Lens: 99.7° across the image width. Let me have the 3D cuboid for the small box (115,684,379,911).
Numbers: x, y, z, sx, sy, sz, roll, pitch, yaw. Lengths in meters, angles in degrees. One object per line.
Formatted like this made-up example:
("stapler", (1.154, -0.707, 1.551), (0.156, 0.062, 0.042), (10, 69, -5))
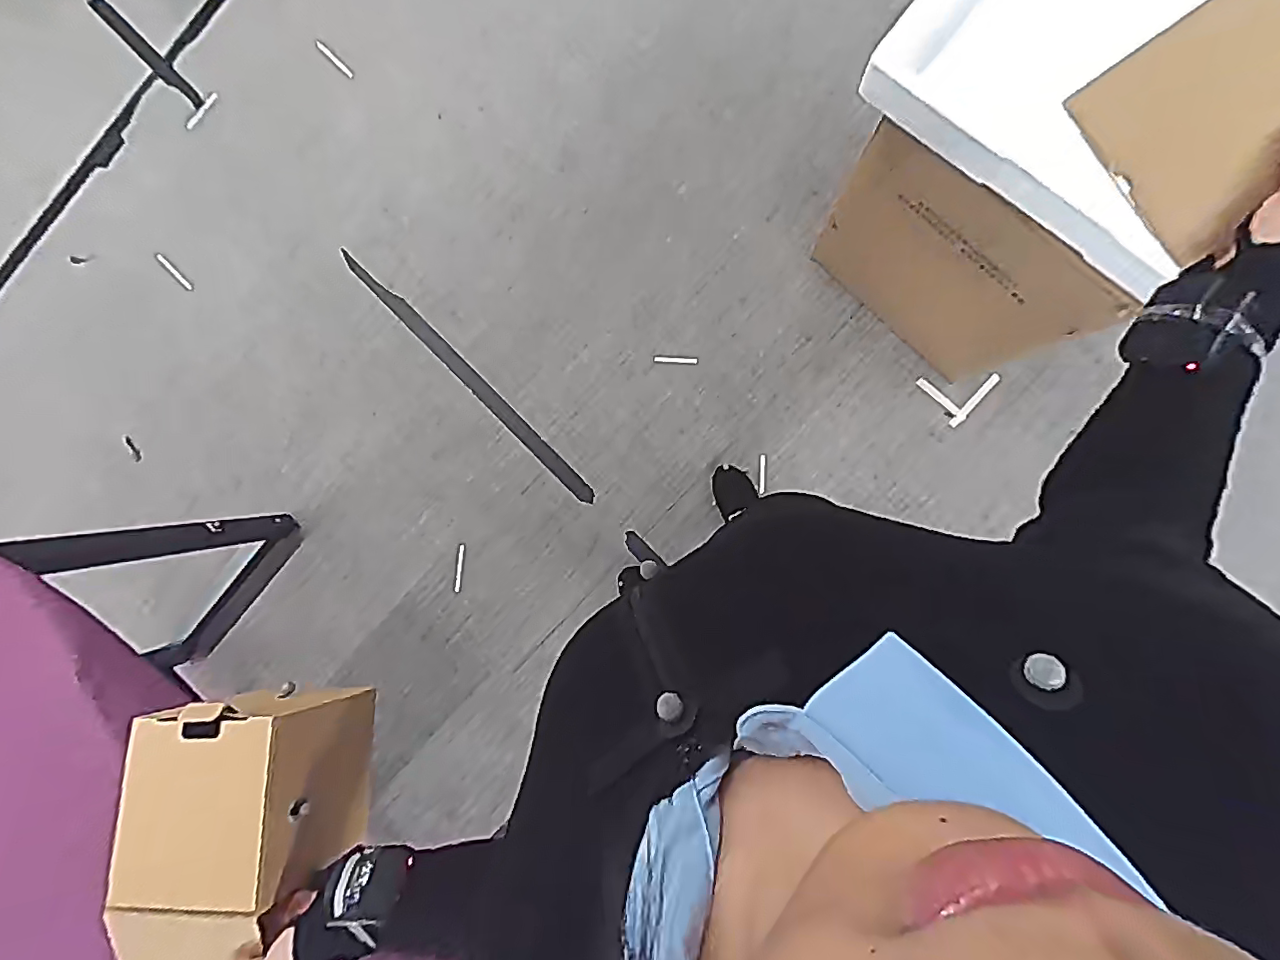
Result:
("small box", (-0.419, 0.335, 0.607), (0.168, 0.176, 0.179), (-3, 77, 7))
